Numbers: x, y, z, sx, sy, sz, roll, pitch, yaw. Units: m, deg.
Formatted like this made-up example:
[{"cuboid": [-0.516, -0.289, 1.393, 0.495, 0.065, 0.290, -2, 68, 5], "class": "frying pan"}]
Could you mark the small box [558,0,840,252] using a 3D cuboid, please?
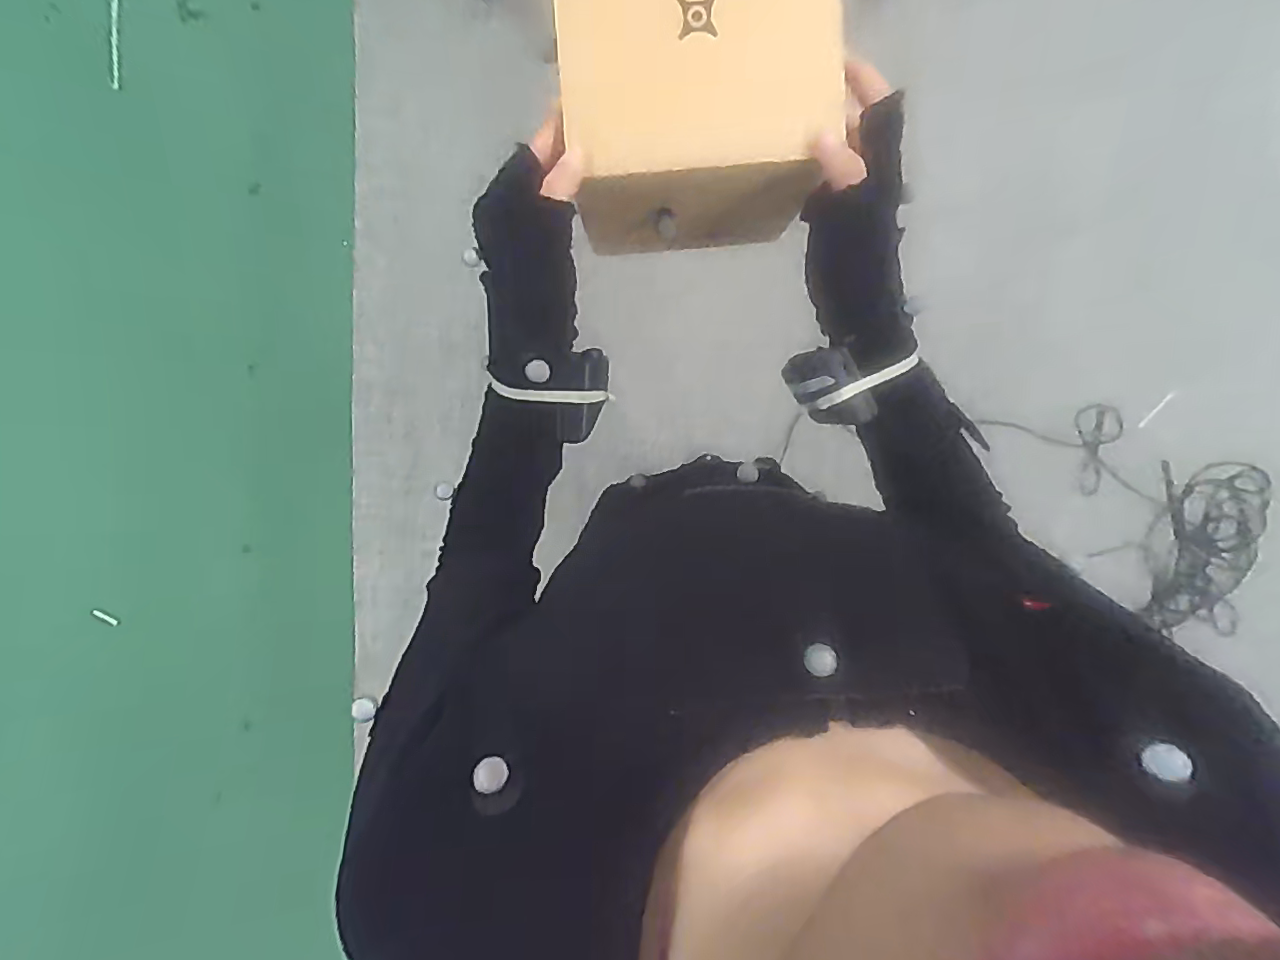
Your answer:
[{"cuboid": [0.036, -0.281, 0.399, 0.168, 0.176, 0.179, -5, 96, 2], "class": "small box"}]
